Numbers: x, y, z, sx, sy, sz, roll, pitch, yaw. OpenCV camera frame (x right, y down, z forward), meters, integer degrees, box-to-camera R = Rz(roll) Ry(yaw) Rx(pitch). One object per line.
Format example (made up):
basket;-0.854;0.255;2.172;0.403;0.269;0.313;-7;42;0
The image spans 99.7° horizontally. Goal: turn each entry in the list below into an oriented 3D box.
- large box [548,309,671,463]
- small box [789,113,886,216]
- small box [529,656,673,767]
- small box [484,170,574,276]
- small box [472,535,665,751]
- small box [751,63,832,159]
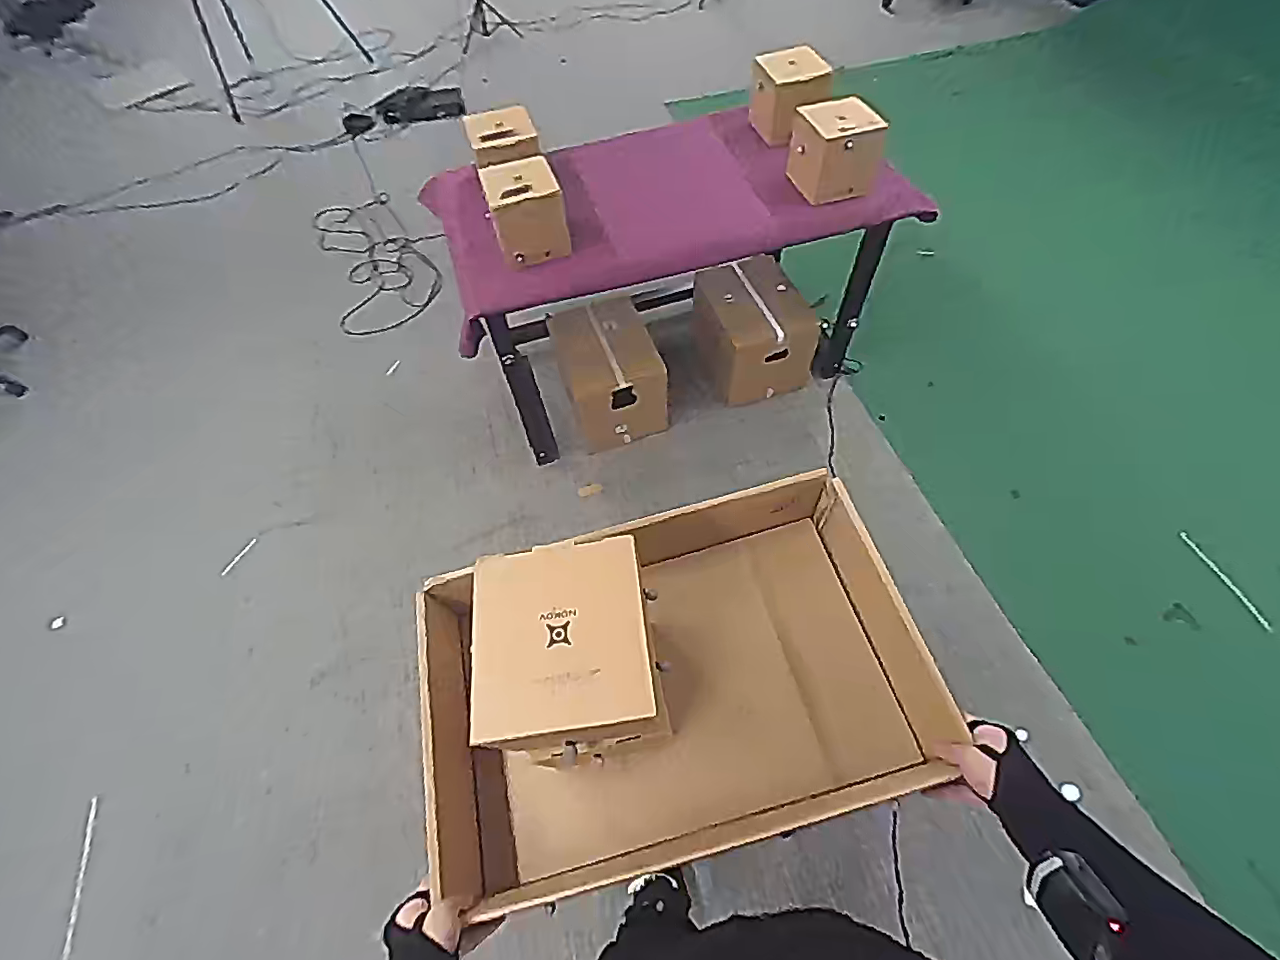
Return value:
large box;-0.103;-0.335;1.937;0.320;0.320;0.408;-18;57;-8
small box;0.508;-0.828;1.422;0.168;0.176;0.179;-15;55;-4
small box;-0.052;0.268;0.716;0.168;0.176;0.179;-11;60;-1
small box;-0.273;-0.633;1.350;0.168;0.176;0.179;-18;56;-8
small box;-0.067;0.180;0.579;0.168;0.176;0.179;-8;60;1
small box;0.435;-1.083;1.591;0.168;0.176;0.179;-16;59;-4
